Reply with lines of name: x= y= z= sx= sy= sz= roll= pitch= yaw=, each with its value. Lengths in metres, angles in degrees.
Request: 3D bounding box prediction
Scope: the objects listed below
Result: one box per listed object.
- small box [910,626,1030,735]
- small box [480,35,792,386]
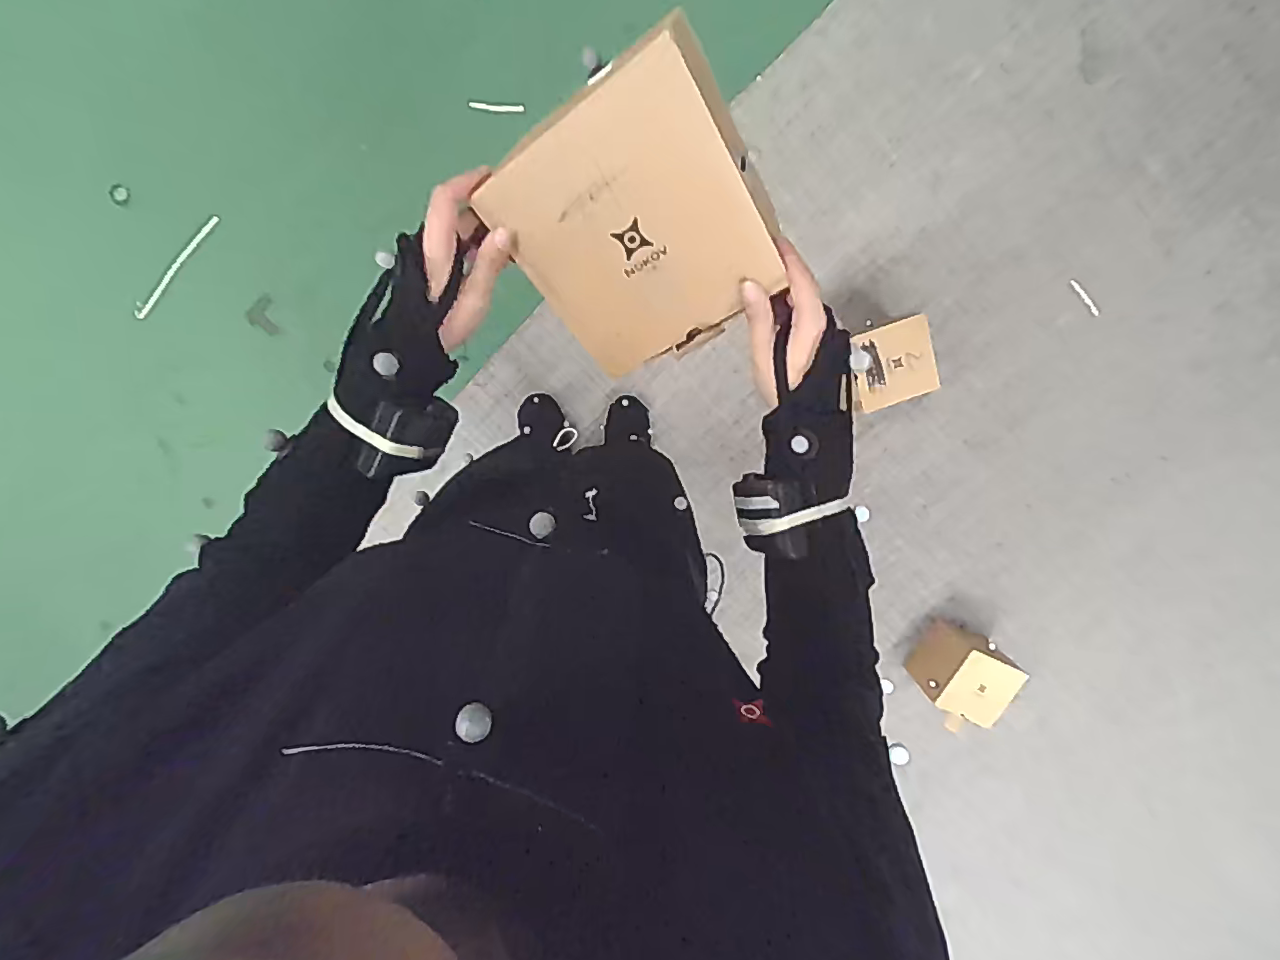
small box: x=0.839 y=0.510 z=1.397 sx=0.168 sy=0.176 sz=0.179 roll=24 pitch=103 yaw=-5
small box: x=0.008 y=-0.218 z=0.444 sx=0.168 sy=0.176 sz=0.179 roll=-24 pitch=126 yaw=26
